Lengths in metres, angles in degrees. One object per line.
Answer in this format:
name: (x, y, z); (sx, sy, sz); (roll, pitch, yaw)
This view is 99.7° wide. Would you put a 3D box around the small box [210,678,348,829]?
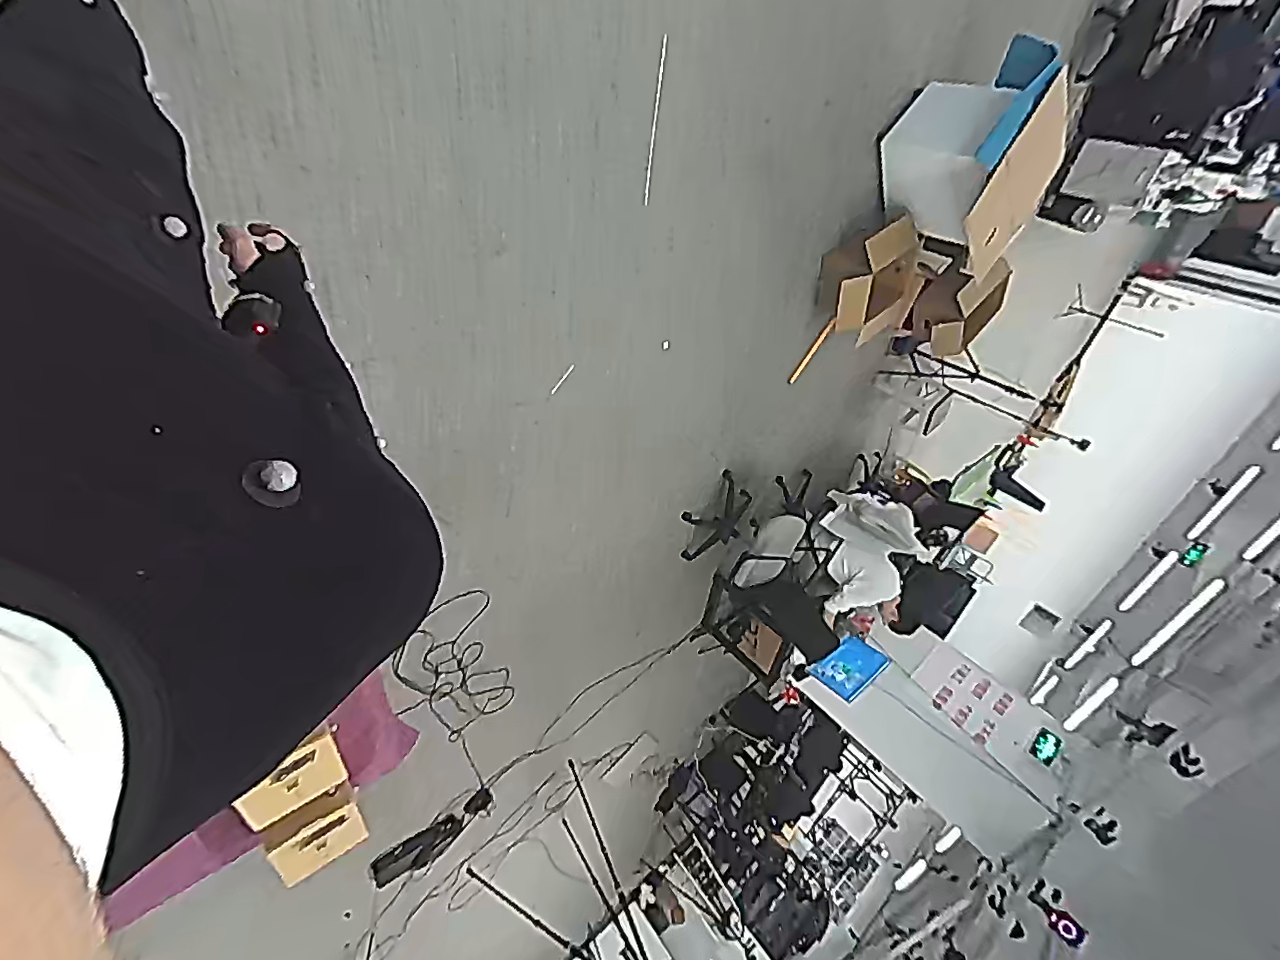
small box: (-0.697, 0.517, 1.049); (0.168, 0.176, 0.179); (-22, 137, -35)
